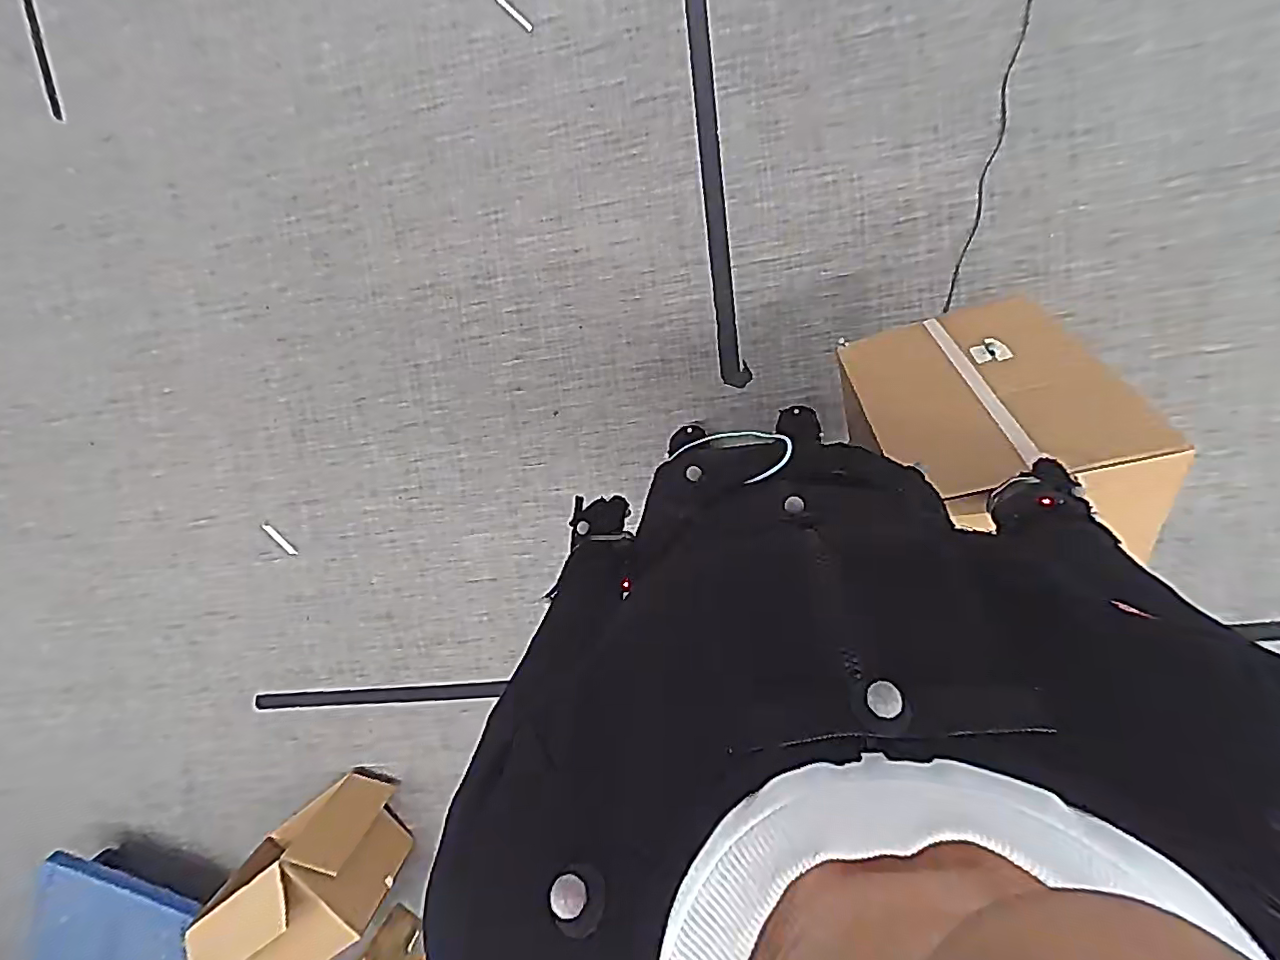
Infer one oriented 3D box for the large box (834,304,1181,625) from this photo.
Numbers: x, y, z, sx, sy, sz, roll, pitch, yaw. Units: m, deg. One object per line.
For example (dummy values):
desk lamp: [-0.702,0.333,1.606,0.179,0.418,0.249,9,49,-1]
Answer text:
large box: [0.551,-0.029,0.909,0.320,0.408,0.320,-13,131,13]
